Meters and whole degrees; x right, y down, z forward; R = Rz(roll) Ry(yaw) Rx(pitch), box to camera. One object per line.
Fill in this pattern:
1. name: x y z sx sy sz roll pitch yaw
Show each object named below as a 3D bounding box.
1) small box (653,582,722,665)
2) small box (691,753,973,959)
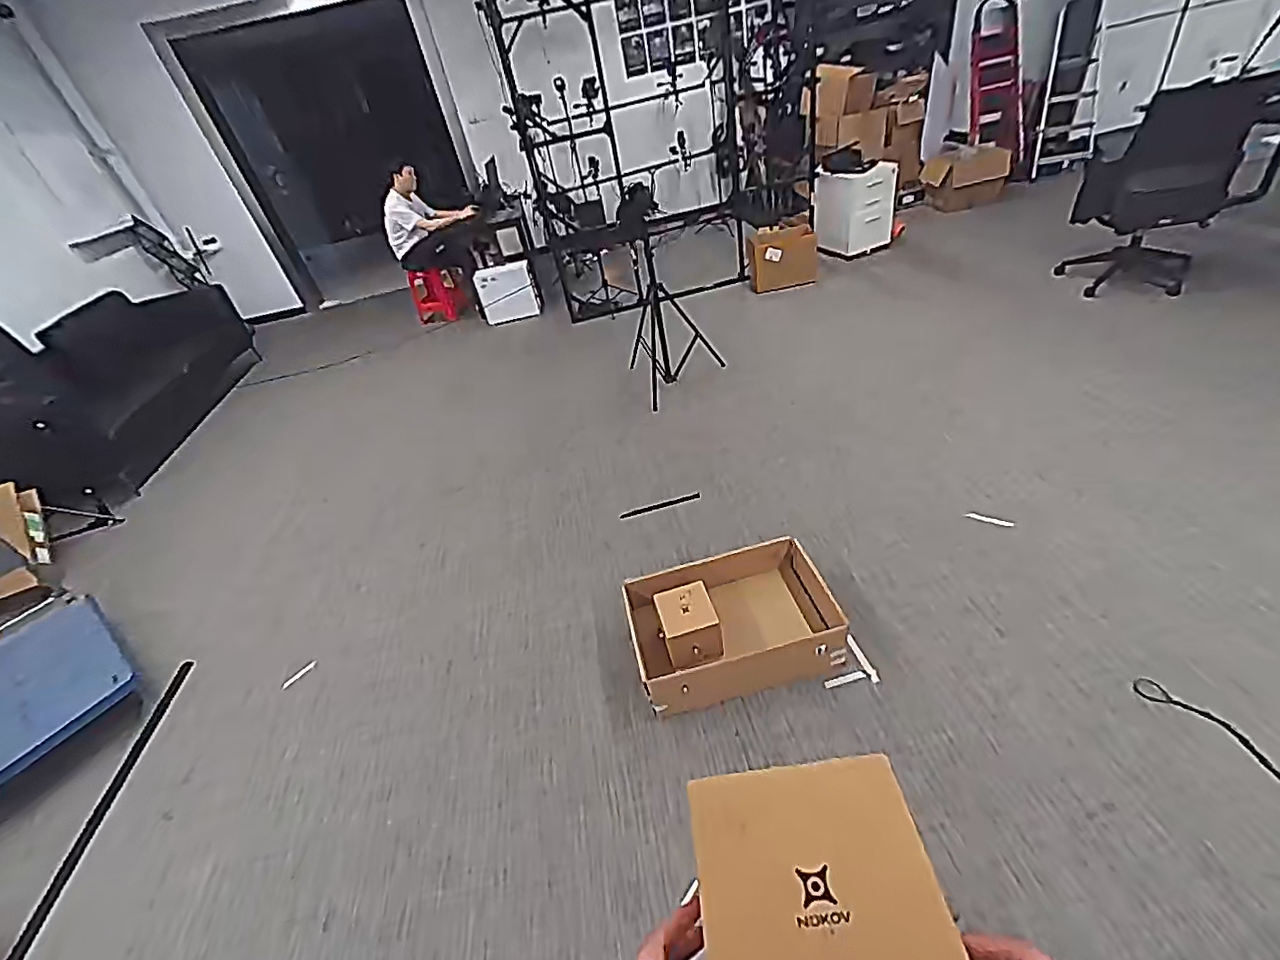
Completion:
1. small box: 0.151 0.457 1.703 0.168 0.176 0.179 -15 37 -5
2. small box: 0.137 0.347 0.421 0.168 0.176 0.179 -10 38 3
